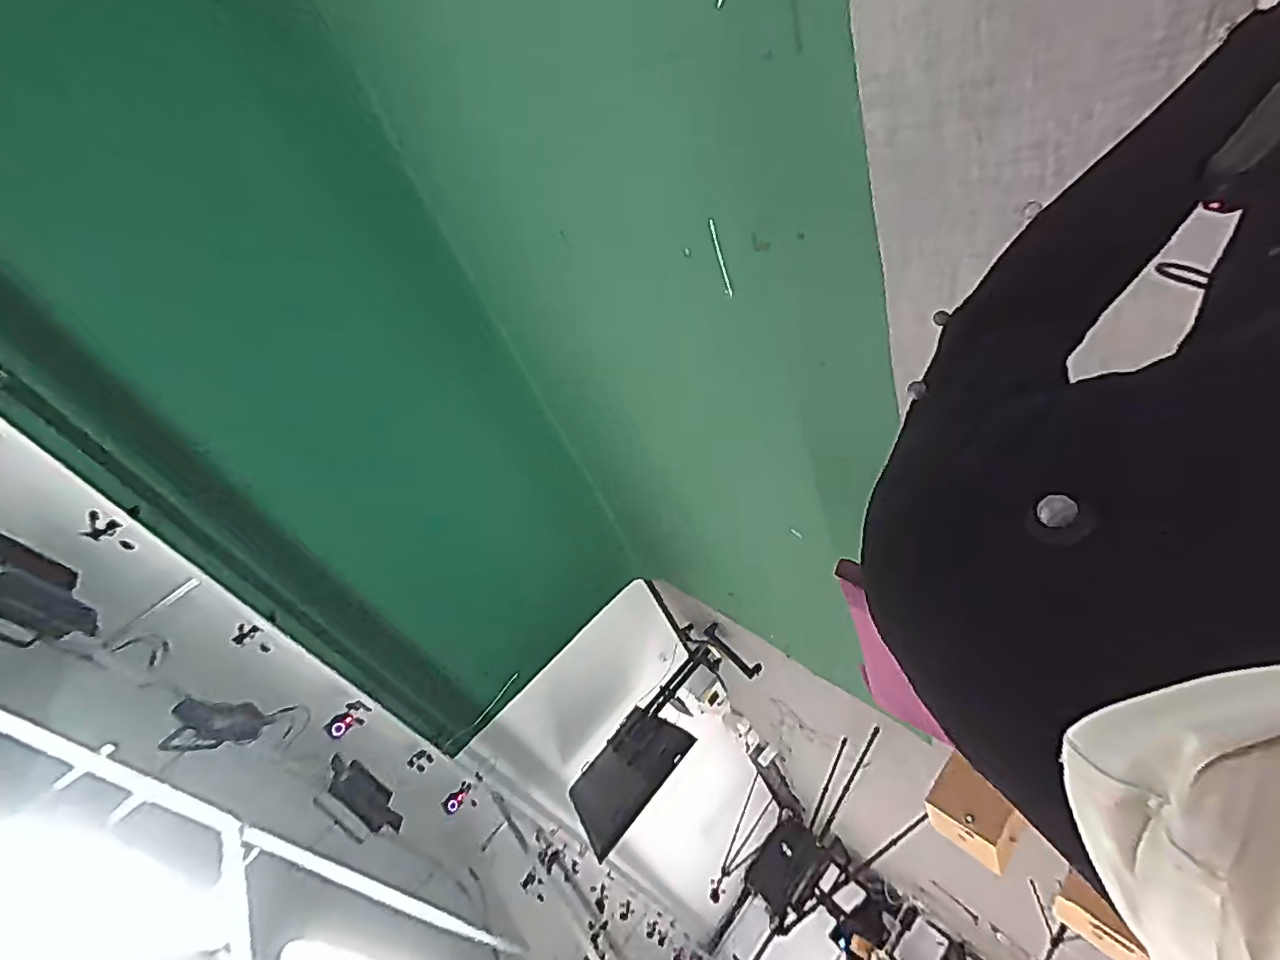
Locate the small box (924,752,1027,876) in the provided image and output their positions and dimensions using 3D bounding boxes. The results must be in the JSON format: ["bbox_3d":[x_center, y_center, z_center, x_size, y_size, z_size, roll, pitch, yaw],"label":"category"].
[{"bbox_3d":[0.846,0.830,1.356,0.168,0.176,0.179,17,144,51],"label":"small box"}]

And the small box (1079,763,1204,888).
[{"bbox_3d":[1.124,0.788,1.217,0.168,0.176,0.179,20,145,50],"label":"small box"}]

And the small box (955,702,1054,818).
[{"bbox_3d":[0.958,0.726,1.415,0.168,0.176,0.179,18,144,50],"label":"small box"}]

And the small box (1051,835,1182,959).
[{"bbox_3d":[1.027,0.916,1.169,0.168,0.176,0.179,23,149,46],"label":"small box"}]
